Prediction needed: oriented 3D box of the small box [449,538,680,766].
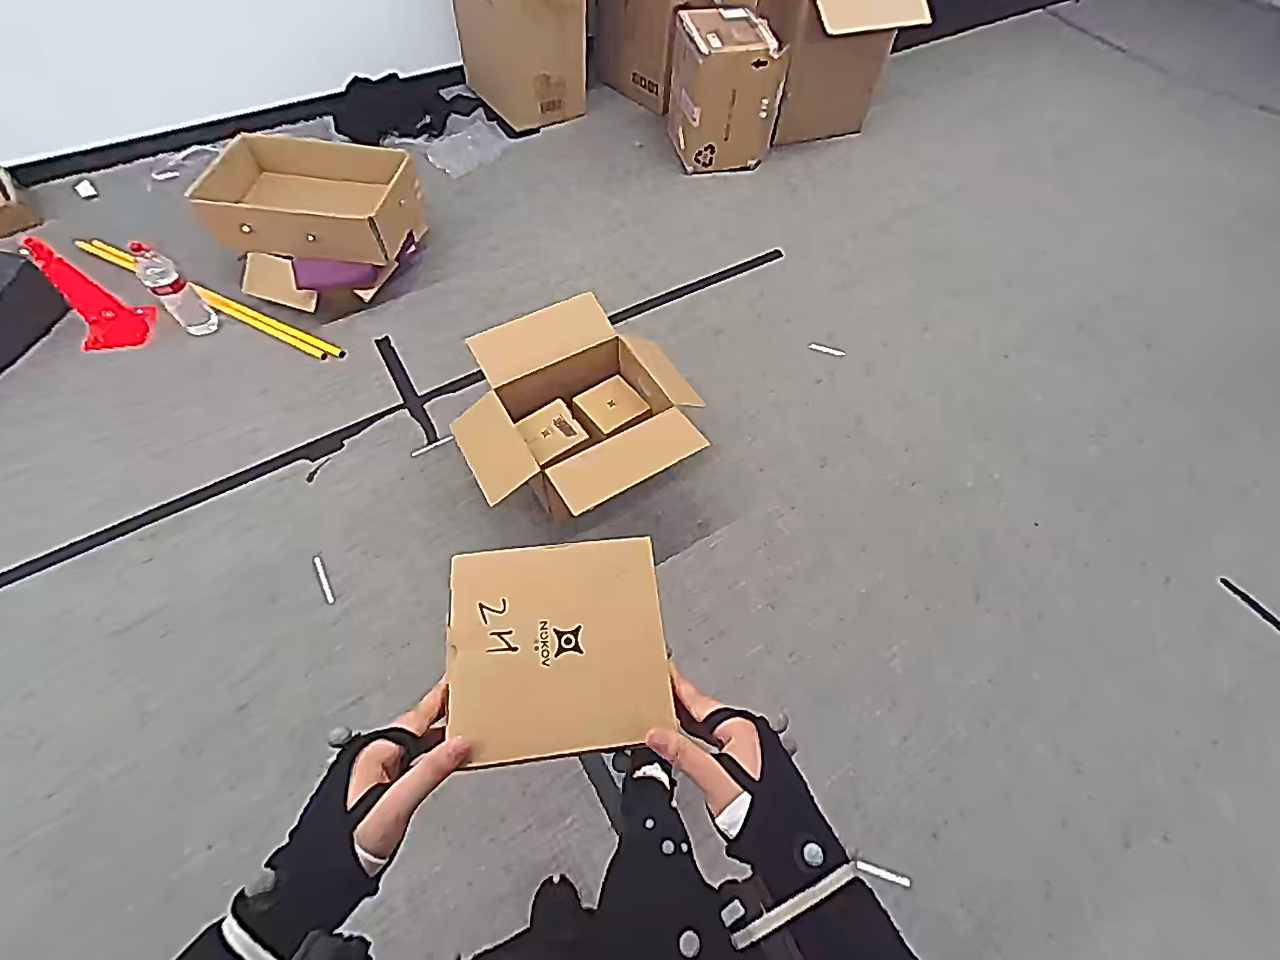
[{"bbox_3d":[-0.069,0.166,0.512,0.179,0.176,0.168,-5,63,-6],"label":"small box"}]
